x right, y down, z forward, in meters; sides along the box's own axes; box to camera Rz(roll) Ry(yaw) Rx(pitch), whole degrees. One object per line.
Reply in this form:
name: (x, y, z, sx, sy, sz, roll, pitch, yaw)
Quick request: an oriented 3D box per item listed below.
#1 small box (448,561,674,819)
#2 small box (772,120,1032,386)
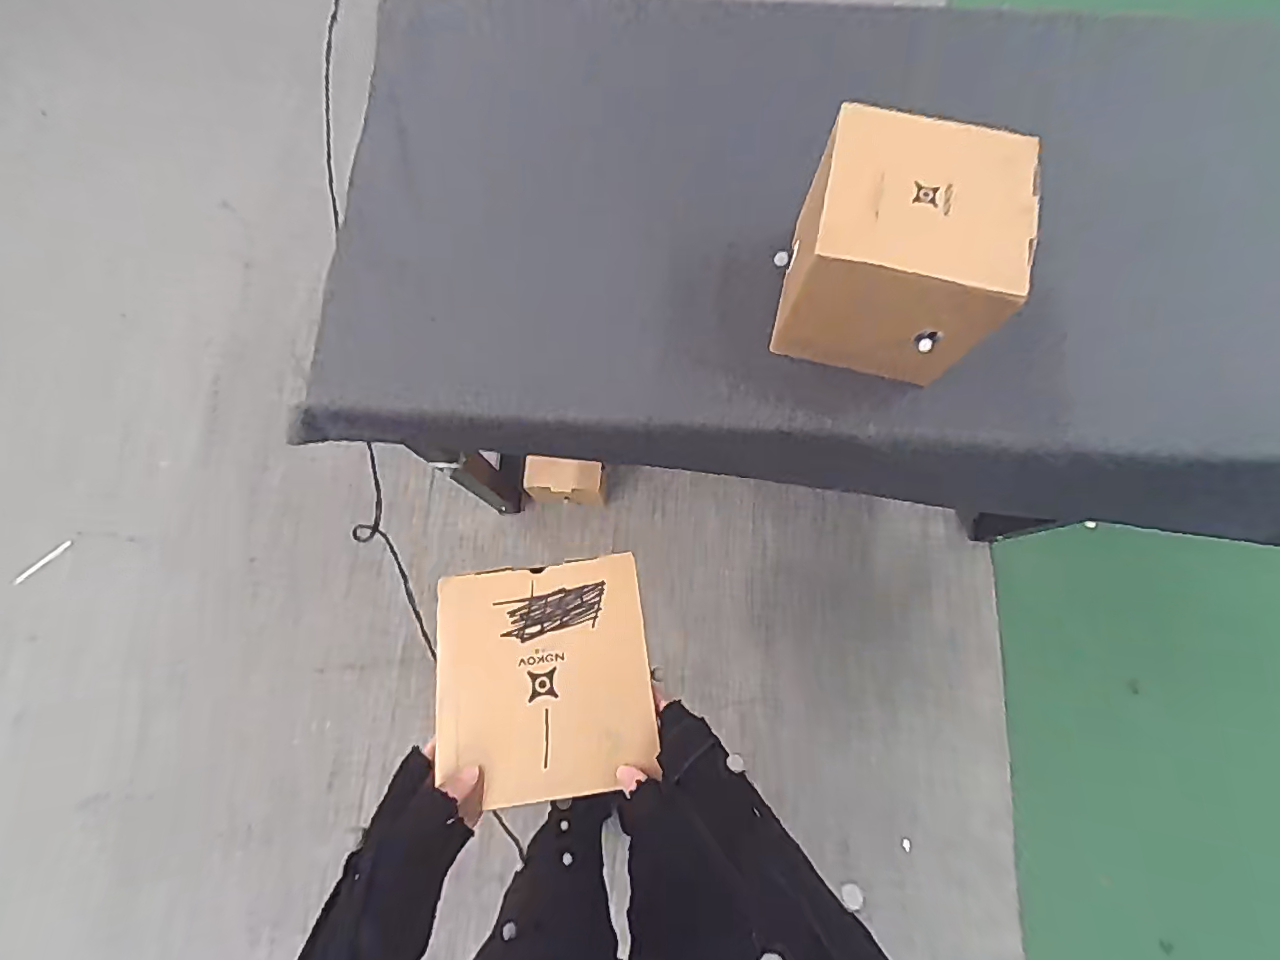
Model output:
small box: (-0.067, 0.190, 0.495, 0.168, 0.176, 0.179, -7, 64, -4)
small box: (0.248, -0.211, 0.543, 0.179, 0.176, 0.168, 12, 74, 4)
